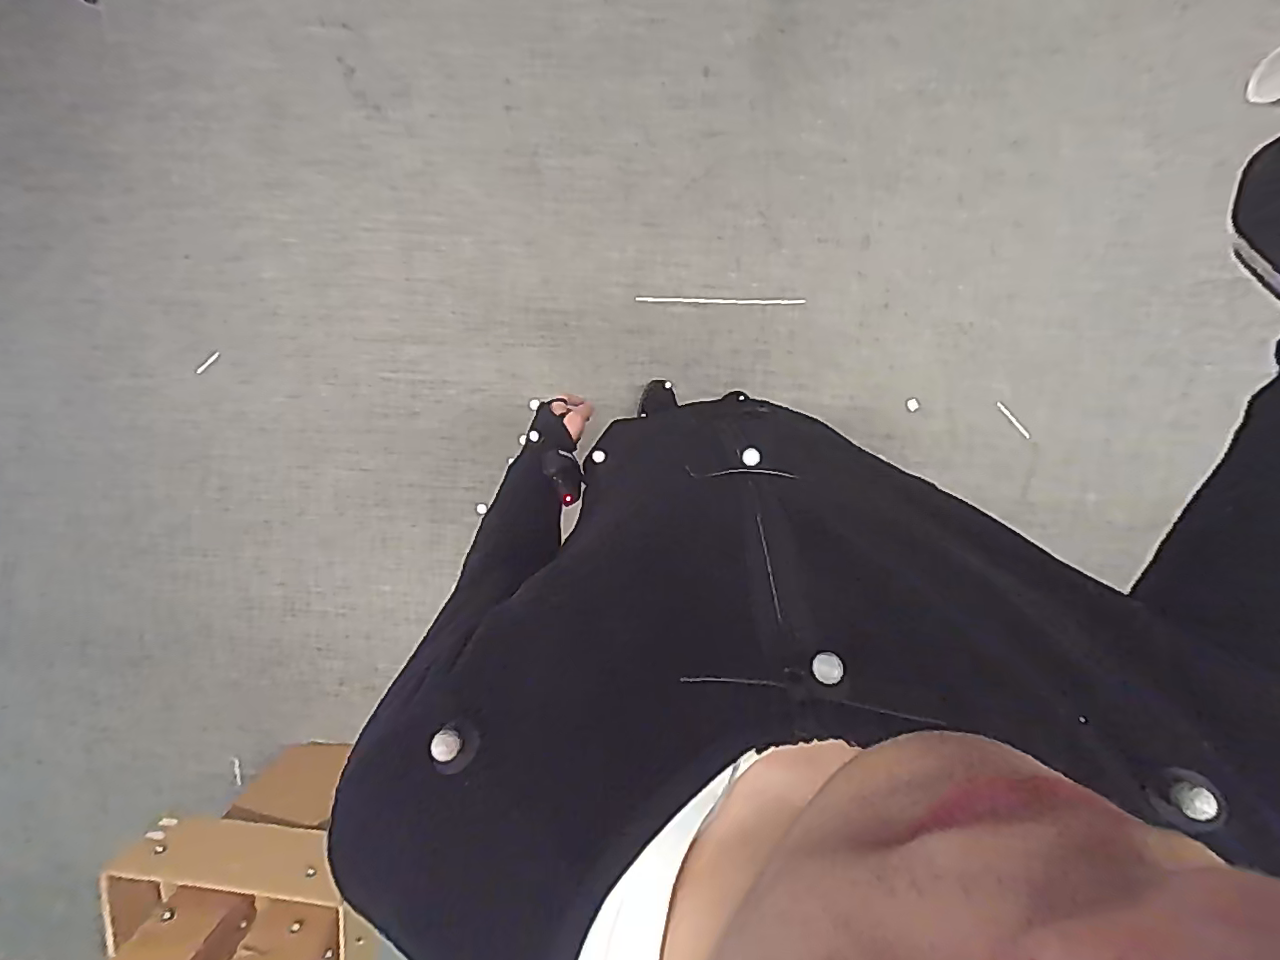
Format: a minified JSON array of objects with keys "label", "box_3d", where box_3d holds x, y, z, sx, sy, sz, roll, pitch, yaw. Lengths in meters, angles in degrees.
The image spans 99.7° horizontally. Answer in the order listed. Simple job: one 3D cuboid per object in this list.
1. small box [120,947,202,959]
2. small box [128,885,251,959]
[{"label":"small box","box_3d":[-1.147,1.211,1.227,0.179,0.176,0.168,3,99,0]},{"label":"small box","box_3d":[-1.146,1.183,1.386,0.179,0.176,0.168,4,100,1]}]
